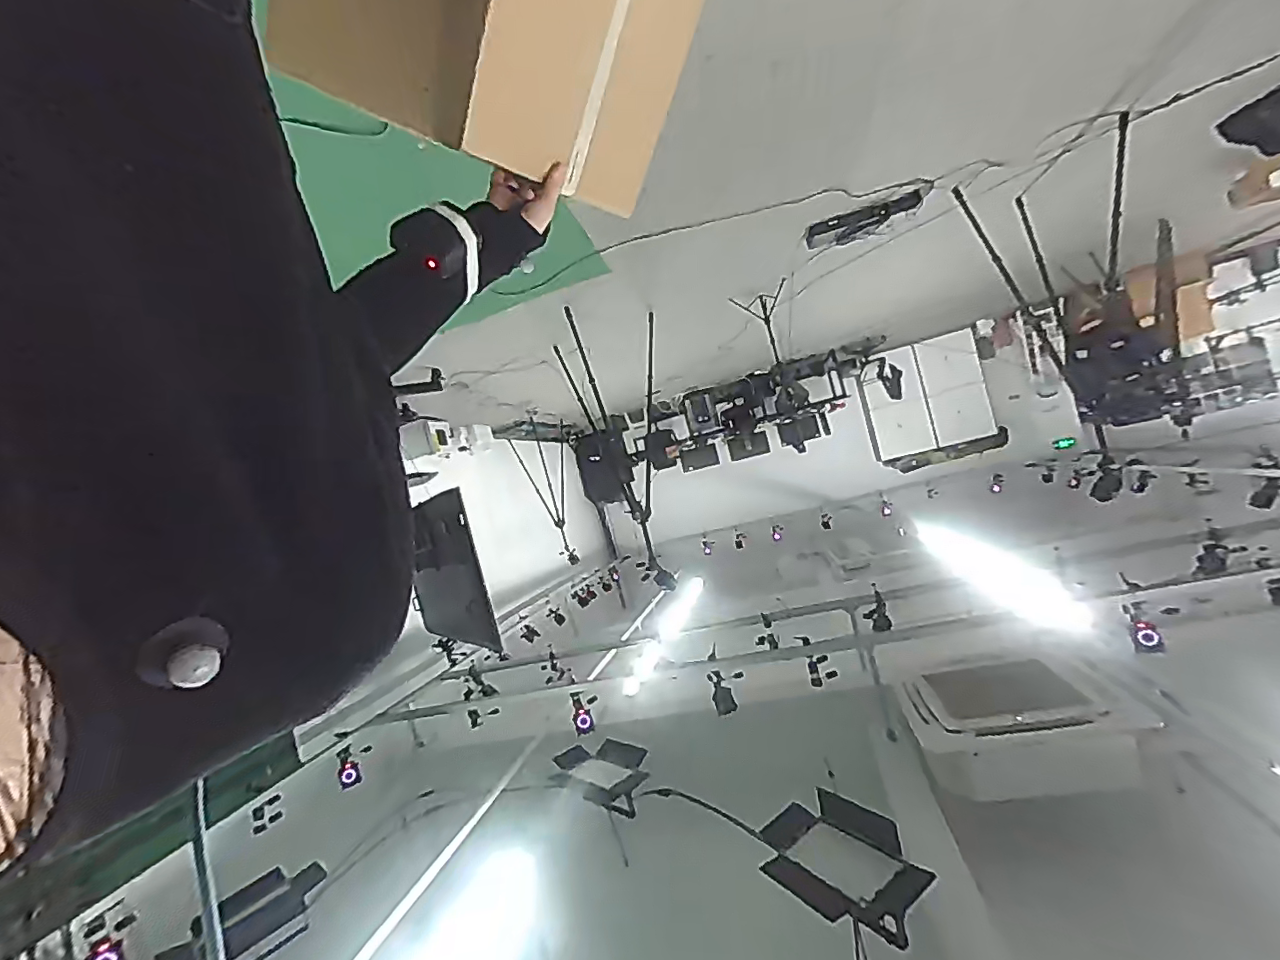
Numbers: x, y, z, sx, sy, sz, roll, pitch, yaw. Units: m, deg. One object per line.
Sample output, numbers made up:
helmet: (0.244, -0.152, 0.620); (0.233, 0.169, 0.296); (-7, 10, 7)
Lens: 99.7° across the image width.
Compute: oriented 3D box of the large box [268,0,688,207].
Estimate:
large box: (-0.151, -0.579, 0.585); (0.320, 0.408, 0.320); (32, -154, 19)
